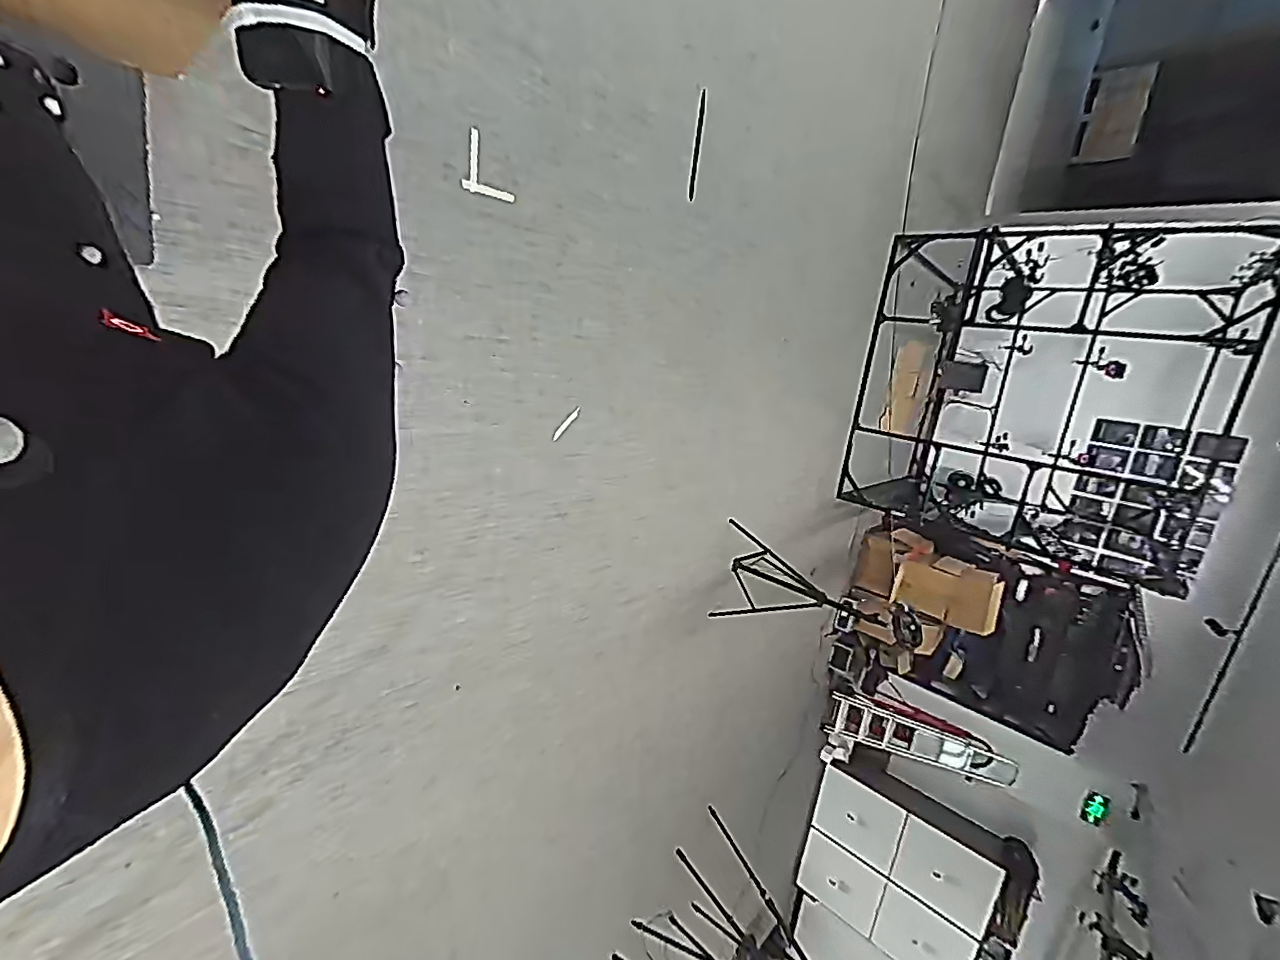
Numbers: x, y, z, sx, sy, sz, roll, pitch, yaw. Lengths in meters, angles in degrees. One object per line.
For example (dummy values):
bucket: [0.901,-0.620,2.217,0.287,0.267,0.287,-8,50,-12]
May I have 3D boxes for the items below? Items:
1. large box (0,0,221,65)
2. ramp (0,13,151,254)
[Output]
large box: [-0.456,-0.487,0.247,0.408,0.320,0.320,-10,110,-49]
ramp: [-1.006,-0.870,0.727,0.509,0.206,0.991,-12,114,-49]
